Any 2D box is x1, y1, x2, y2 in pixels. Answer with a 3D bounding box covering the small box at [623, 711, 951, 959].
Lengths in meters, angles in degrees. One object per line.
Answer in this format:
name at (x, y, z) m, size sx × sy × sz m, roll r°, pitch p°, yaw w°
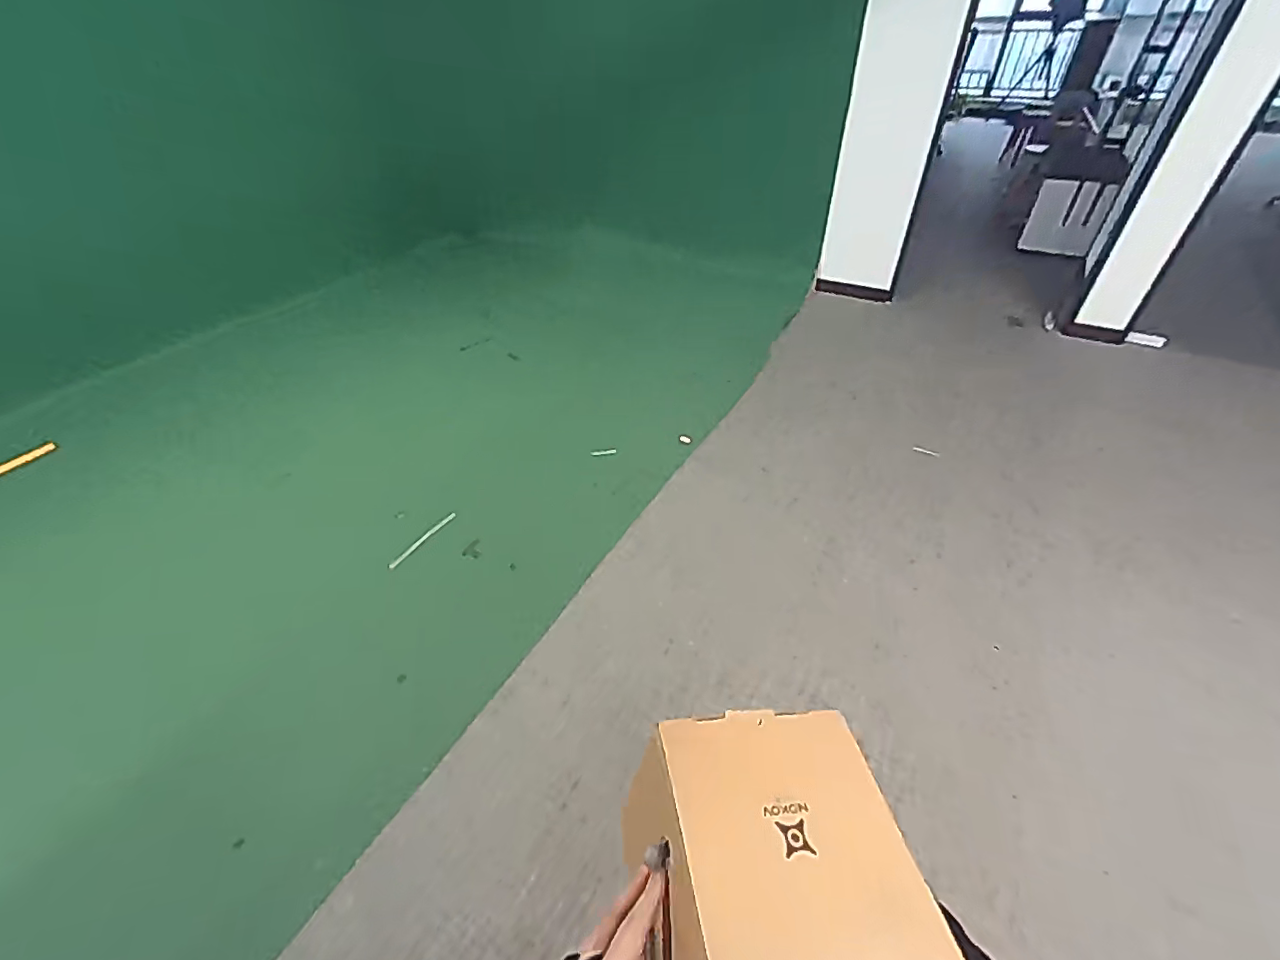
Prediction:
small box at (0.088, 0.313, 0.426) m, size 0.168 × 0.176 × 0.179 m, roll 3°, pitch 34°, yaw -15°
